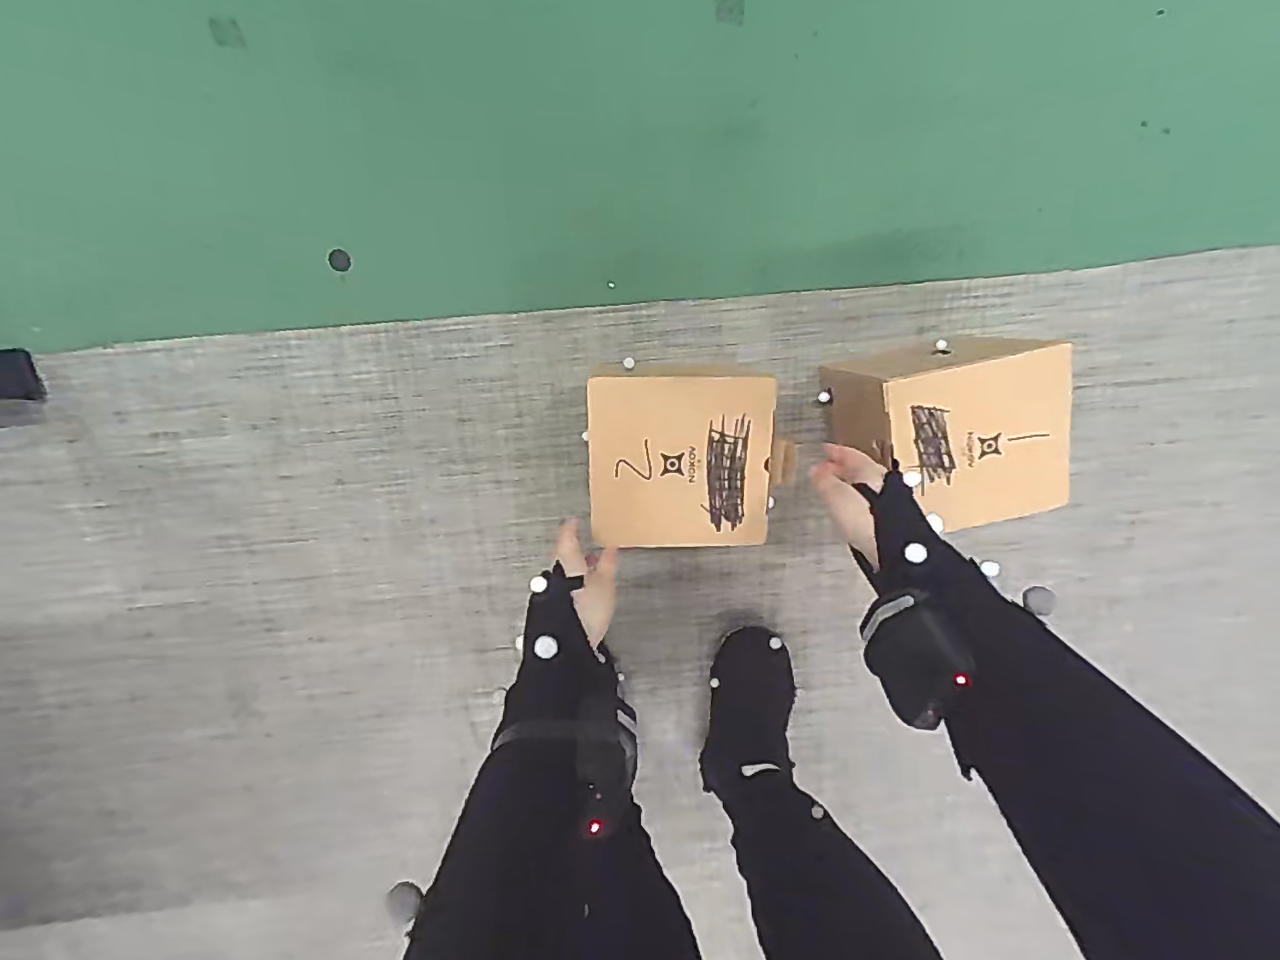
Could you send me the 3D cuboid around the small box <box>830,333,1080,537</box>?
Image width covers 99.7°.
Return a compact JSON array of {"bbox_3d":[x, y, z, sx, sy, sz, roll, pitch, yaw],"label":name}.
[{"bbox_3d":[0.317,-0.058,0.580,0.179,0.176,0.168,-12,107,0],"label":"small box"}]
